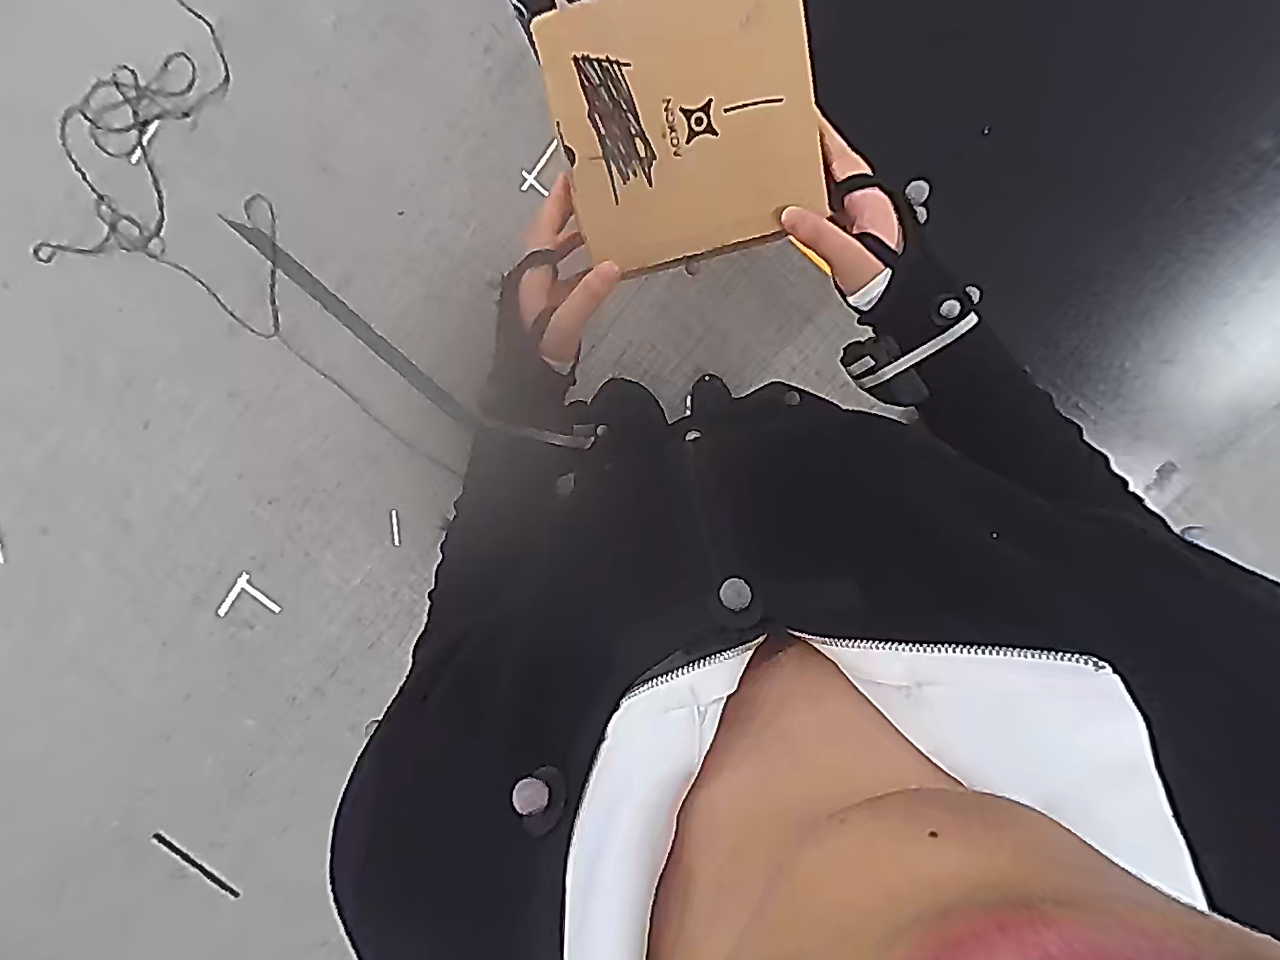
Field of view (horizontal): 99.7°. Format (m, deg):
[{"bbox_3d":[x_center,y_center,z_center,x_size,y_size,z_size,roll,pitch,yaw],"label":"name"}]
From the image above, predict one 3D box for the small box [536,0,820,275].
[{"bbox_3d":[0.033,-0.278,0.455,0.179,0.176,0.168,-12,108,5],"label":"small box"}]
